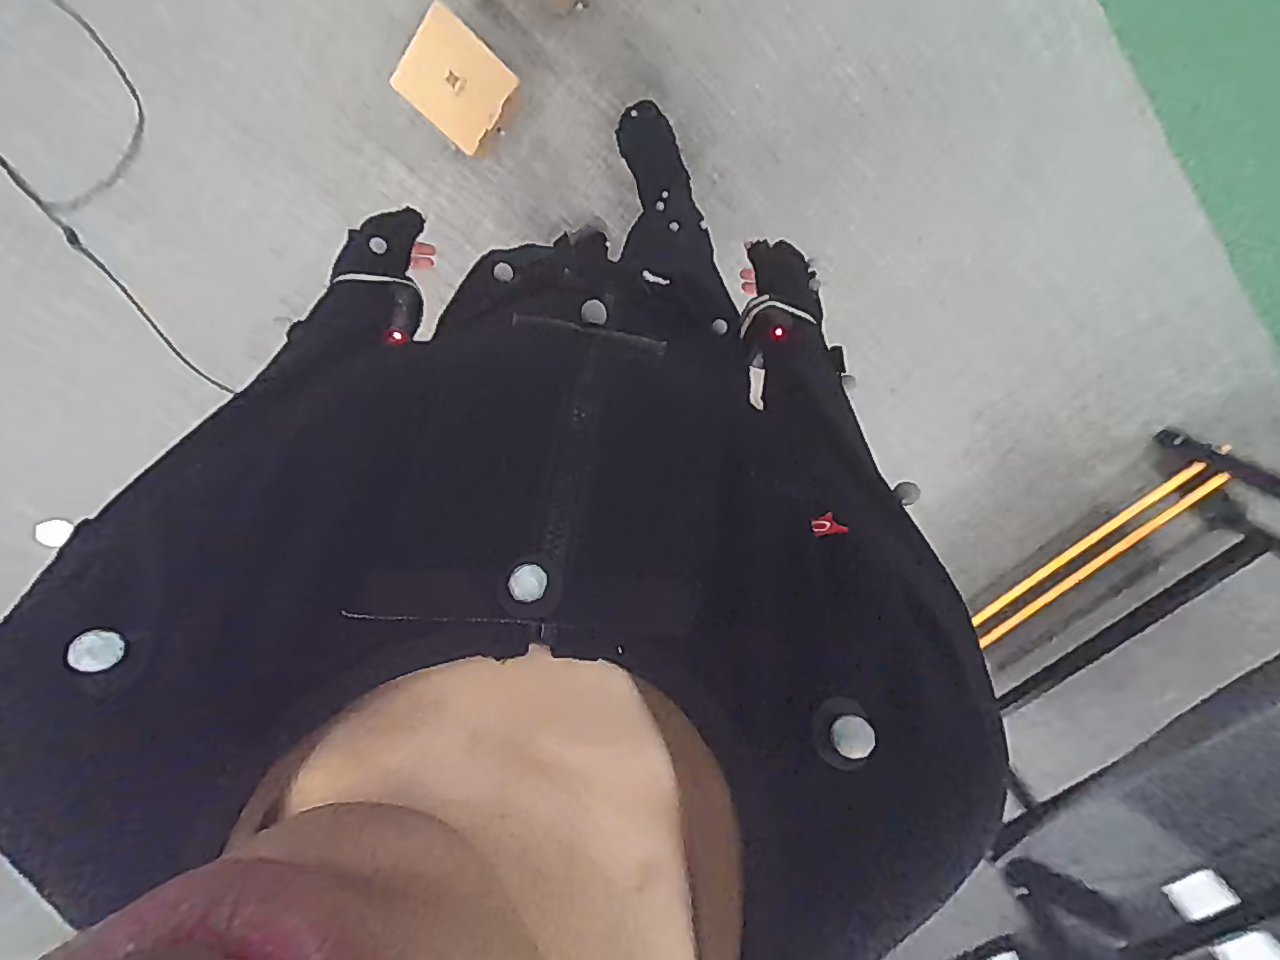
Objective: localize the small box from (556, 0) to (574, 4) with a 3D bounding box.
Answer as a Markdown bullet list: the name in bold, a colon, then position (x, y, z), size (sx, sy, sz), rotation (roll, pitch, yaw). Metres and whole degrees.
- **small box**: position (-0.138, -0.986, 0.942), size (0.168, 0.176, 0.179), rotation (-40, 114, 16)

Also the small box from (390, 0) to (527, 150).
- **small box**: position (-0.341, -0.770, 1.048), size (0.179, 0.176, 0.168), rotation (36, 111, -22)
